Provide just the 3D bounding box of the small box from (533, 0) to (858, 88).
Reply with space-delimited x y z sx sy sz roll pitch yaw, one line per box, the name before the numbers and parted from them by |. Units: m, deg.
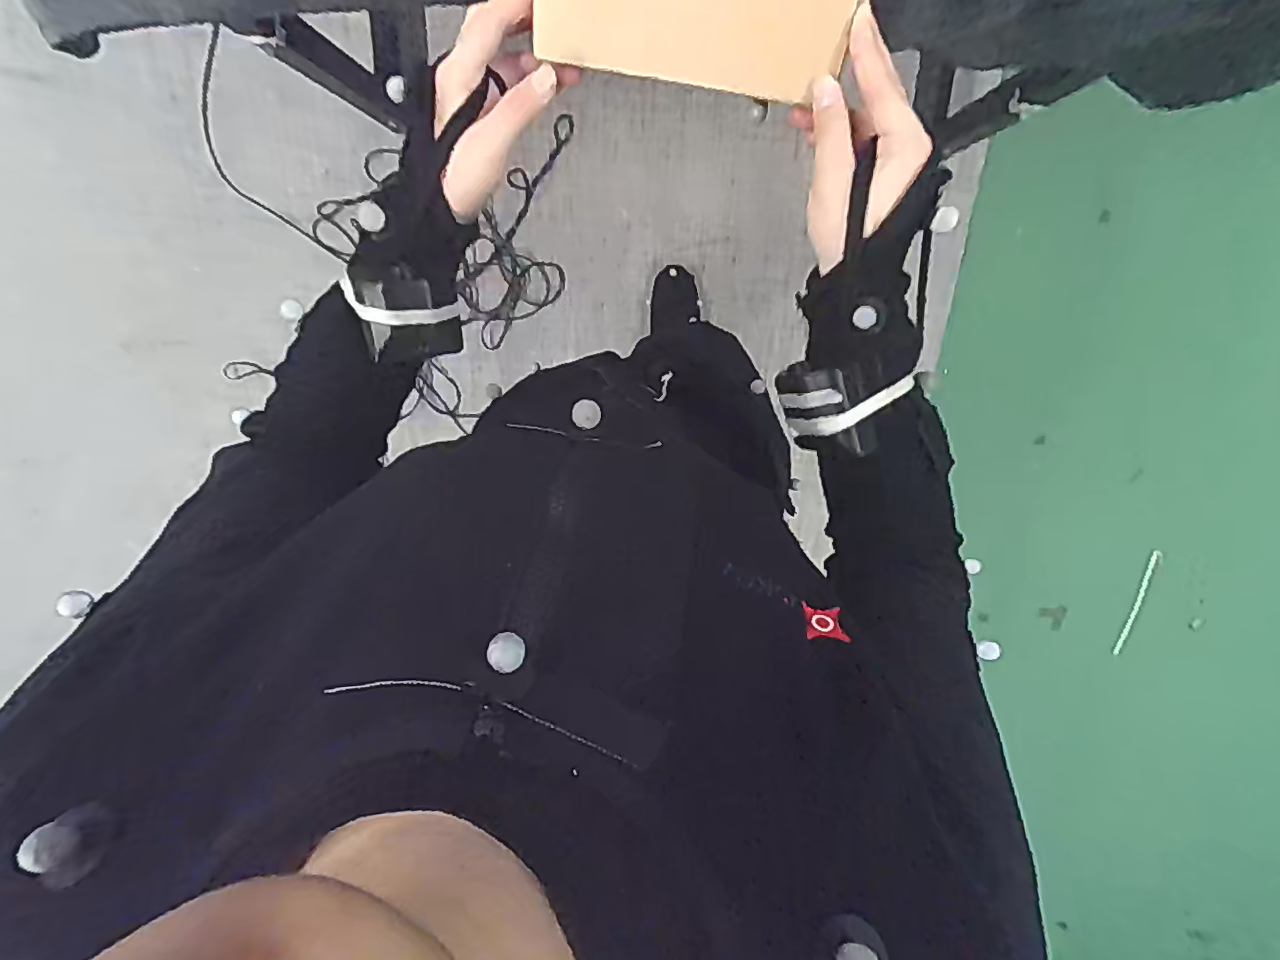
small box | 0.046 -0.346 0.319 0.179 0.176 0.168 11 129 2
